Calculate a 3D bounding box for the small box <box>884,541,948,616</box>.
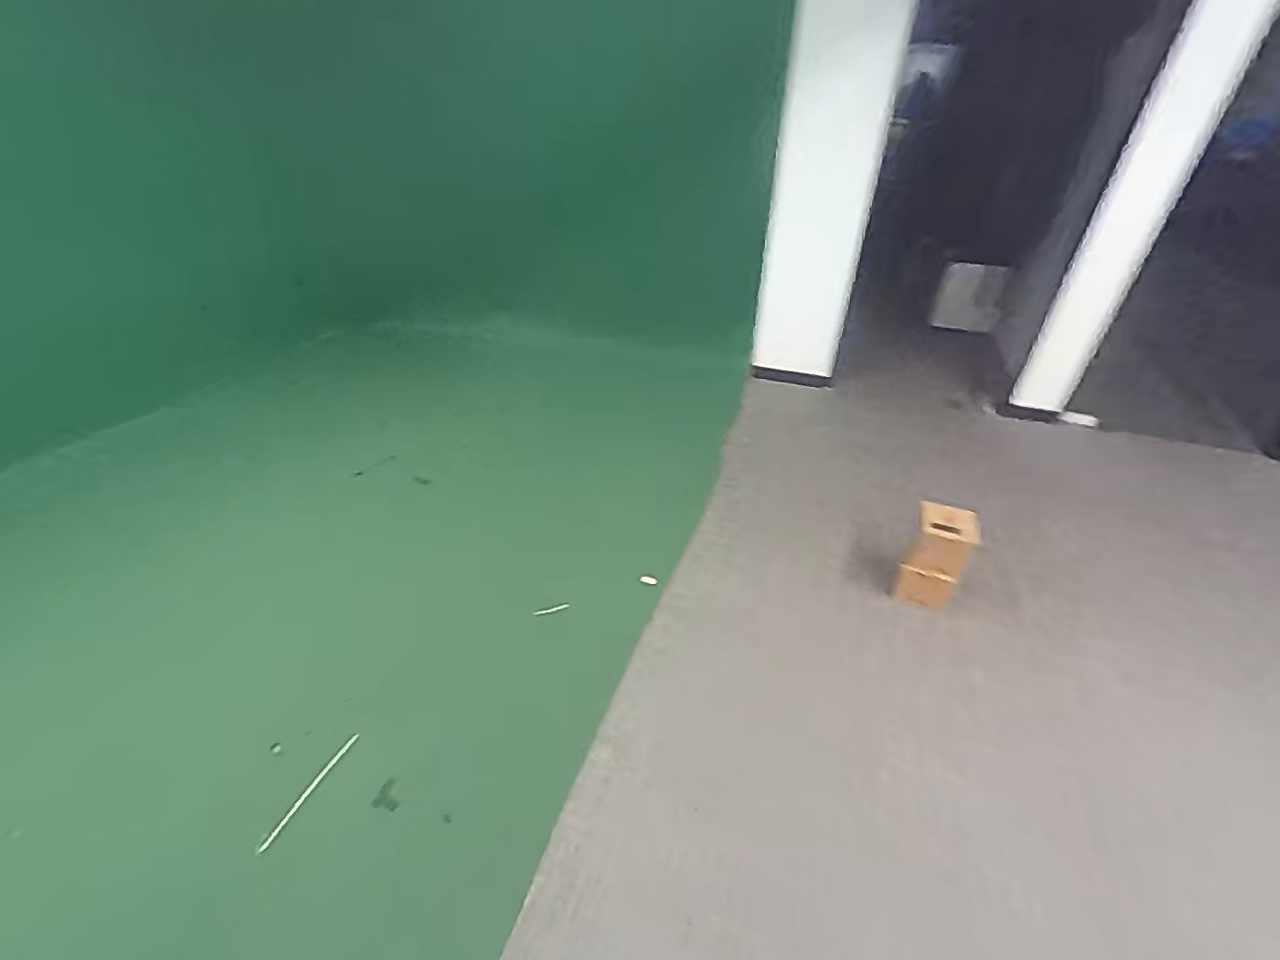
[{"bbox_3d":[1.006,0.359,1.975,0.168,0.176,0.179,17,40,20],"label":"small box"}]
